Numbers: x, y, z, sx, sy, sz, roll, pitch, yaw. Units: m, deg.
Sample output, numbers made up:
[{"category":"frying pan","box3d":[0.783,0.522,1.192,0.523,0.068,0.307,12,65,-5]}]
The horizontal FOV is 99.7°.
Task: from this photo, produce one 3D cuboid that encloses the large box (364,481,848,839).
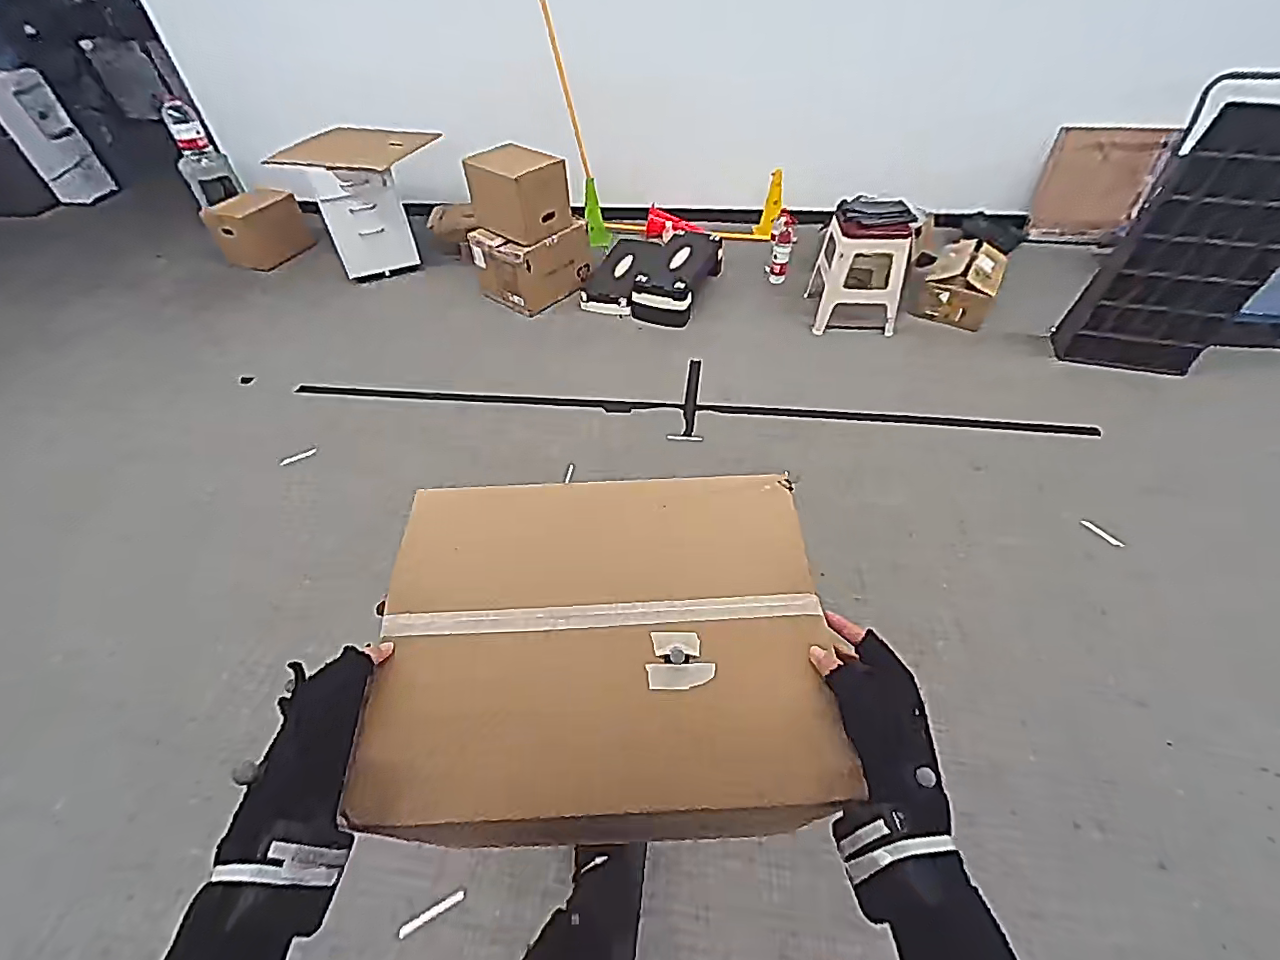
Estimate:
[{"category":"large box","box3d":[-0.033,0.221,0.643,0.408,0.320,0.320,-2,54,-1]}]
